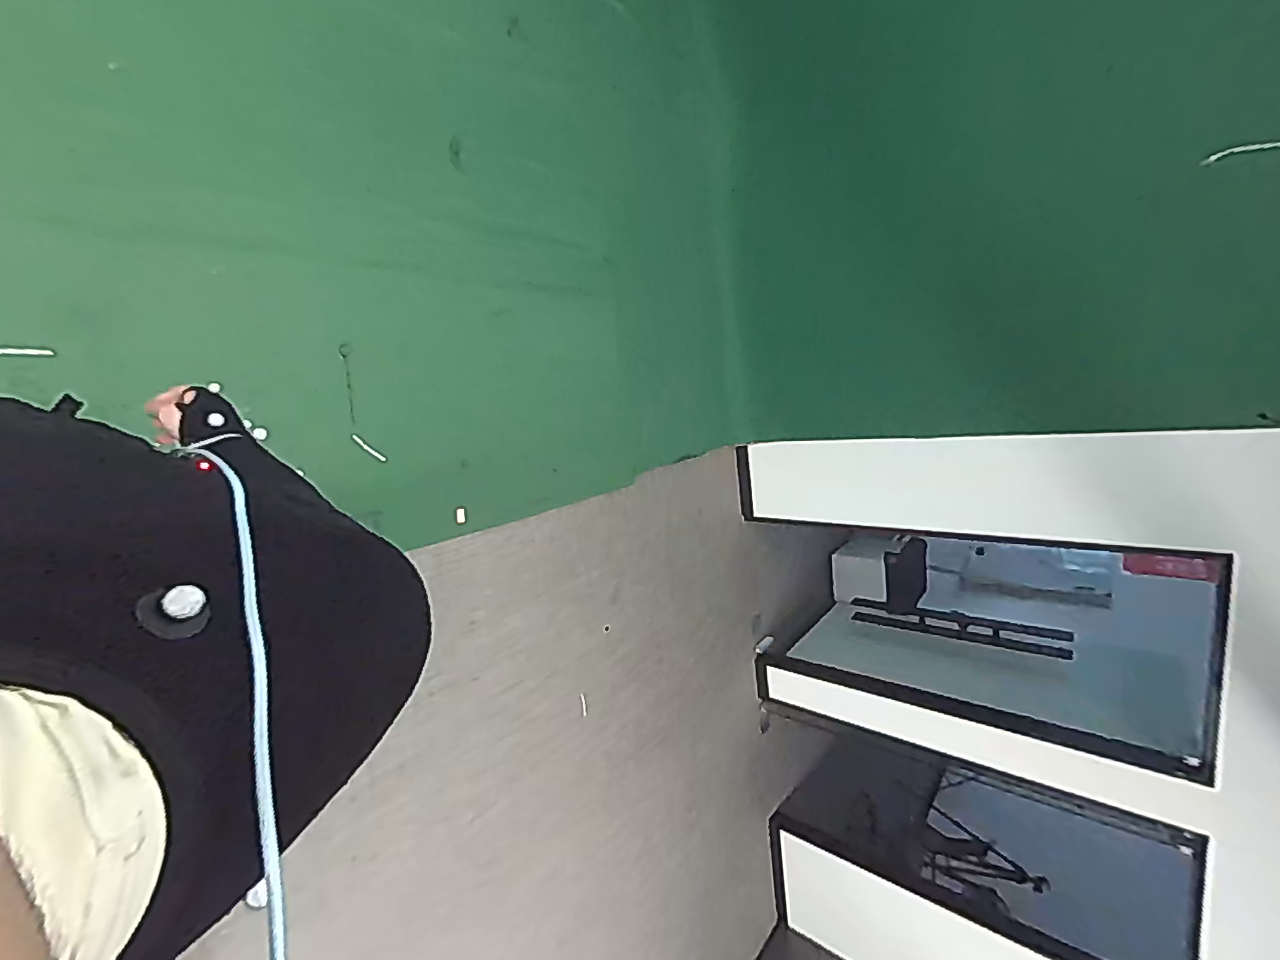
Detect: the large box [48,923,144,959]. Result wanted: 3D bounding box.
[{"bbox_3d":[-1.204,1.187,1.022,0.408,0.320,0.320,-2,94,-50],"label":"large box"}]
